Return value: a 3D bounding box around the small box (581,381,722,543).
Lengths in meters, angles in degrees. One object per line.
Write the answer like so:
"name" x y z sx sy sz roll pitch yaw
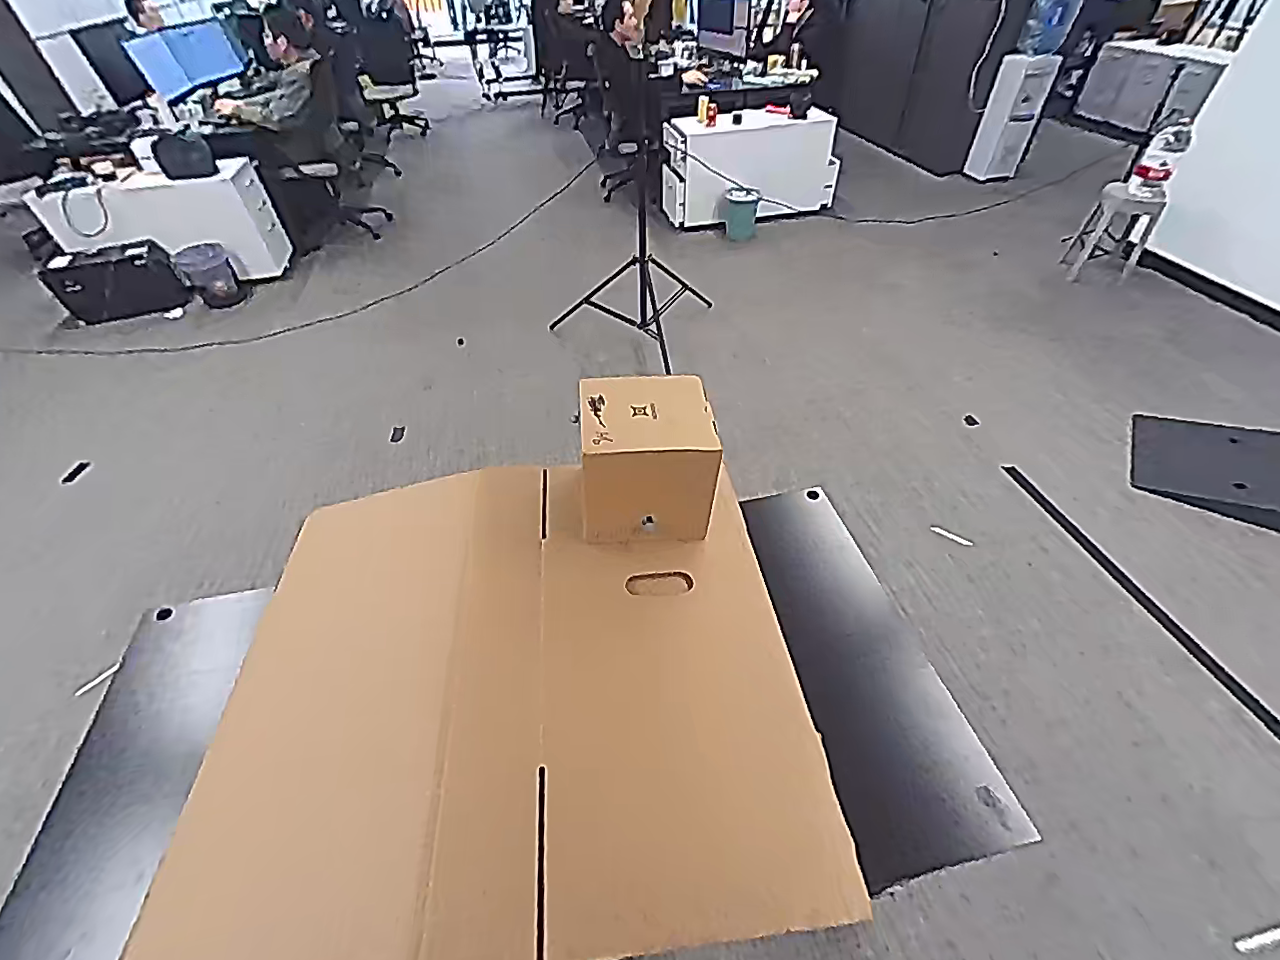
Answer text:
"small box" 0.004 -0.024 0.774 0.179 0.176 0.168 -2 43 -6
